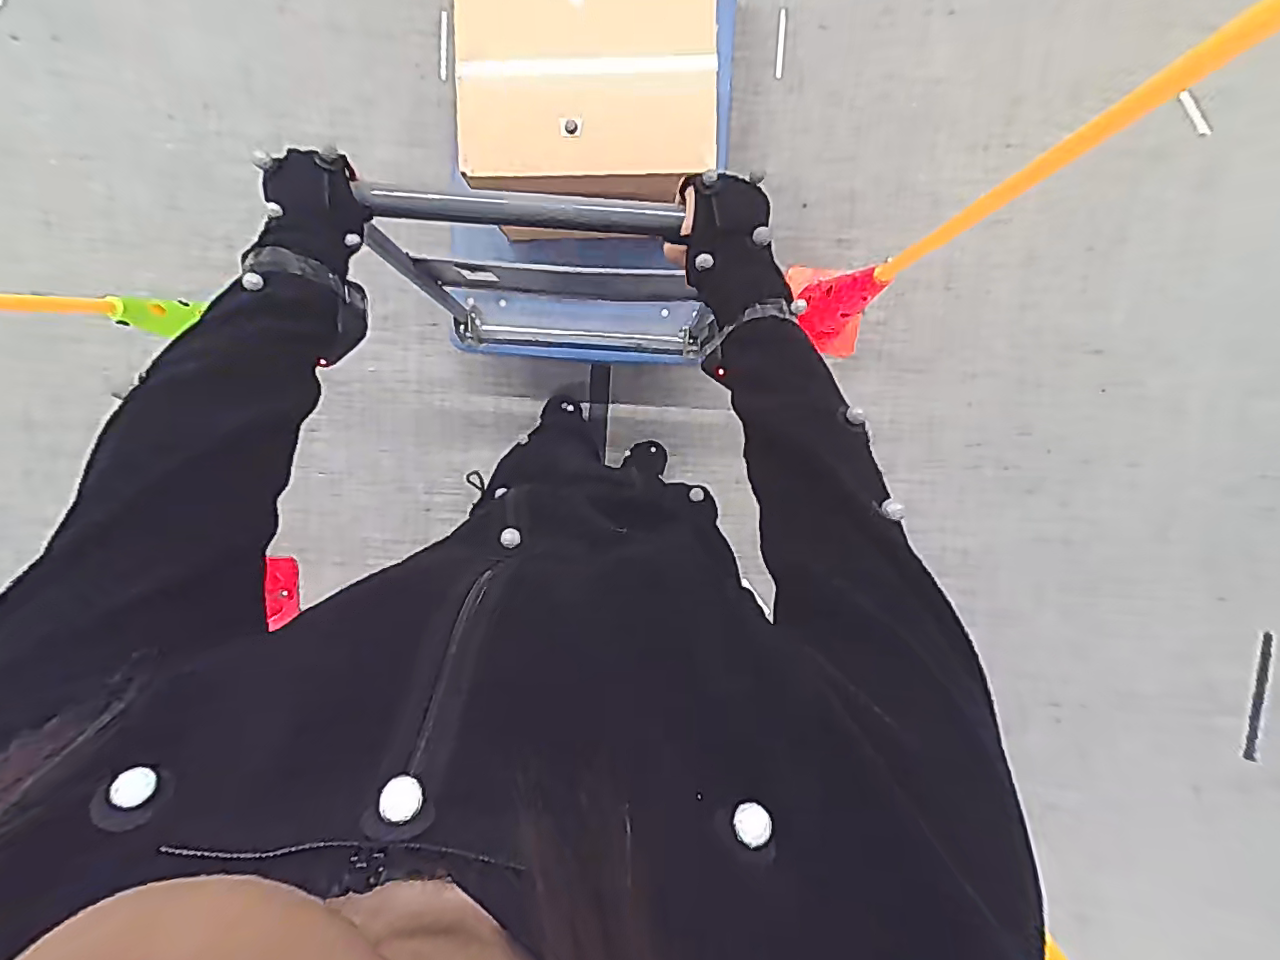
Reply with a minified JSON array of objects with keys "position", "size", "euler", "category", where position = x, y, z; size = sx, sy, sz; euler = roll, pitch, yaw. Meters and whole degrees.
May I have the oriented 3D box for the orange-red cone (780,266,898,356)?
[{"position":[0.463,-0.399,1.179],"size":[0.199,0.360,0.198],"euler":[10,97,-2],"category":"orange-red cone"}]
